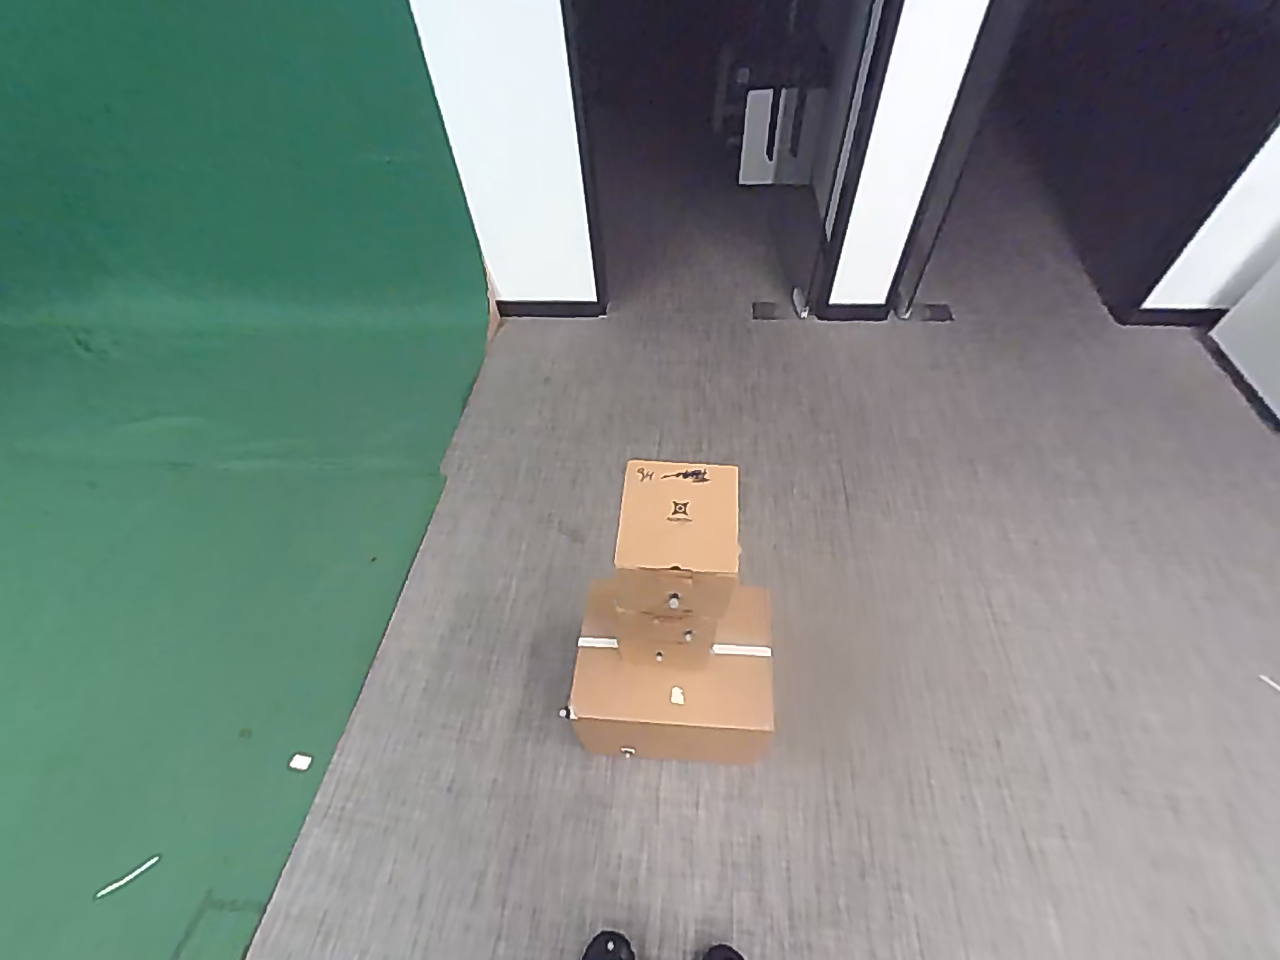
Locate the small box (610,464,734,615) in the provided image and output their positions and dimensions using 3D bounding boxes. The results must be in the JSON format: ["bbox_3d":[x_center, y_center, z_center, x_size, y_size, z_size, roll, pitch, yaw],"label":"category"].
[{"bbox_3d":[0.053,0.096,0.827,0.168,0.176,0.179,3,58,5],"label":"small box"}]

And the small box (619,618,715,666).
[{"bbox_3d":[0.058,0.274,1.099,0.179,0.176,0.168,2,58,5],"label":"small box"}]

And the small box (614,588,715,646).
[{"bbox_3d":[0.050,0.185,0.964,0.168,0.176,0.179,3,56,4],"label":"small box"}]
